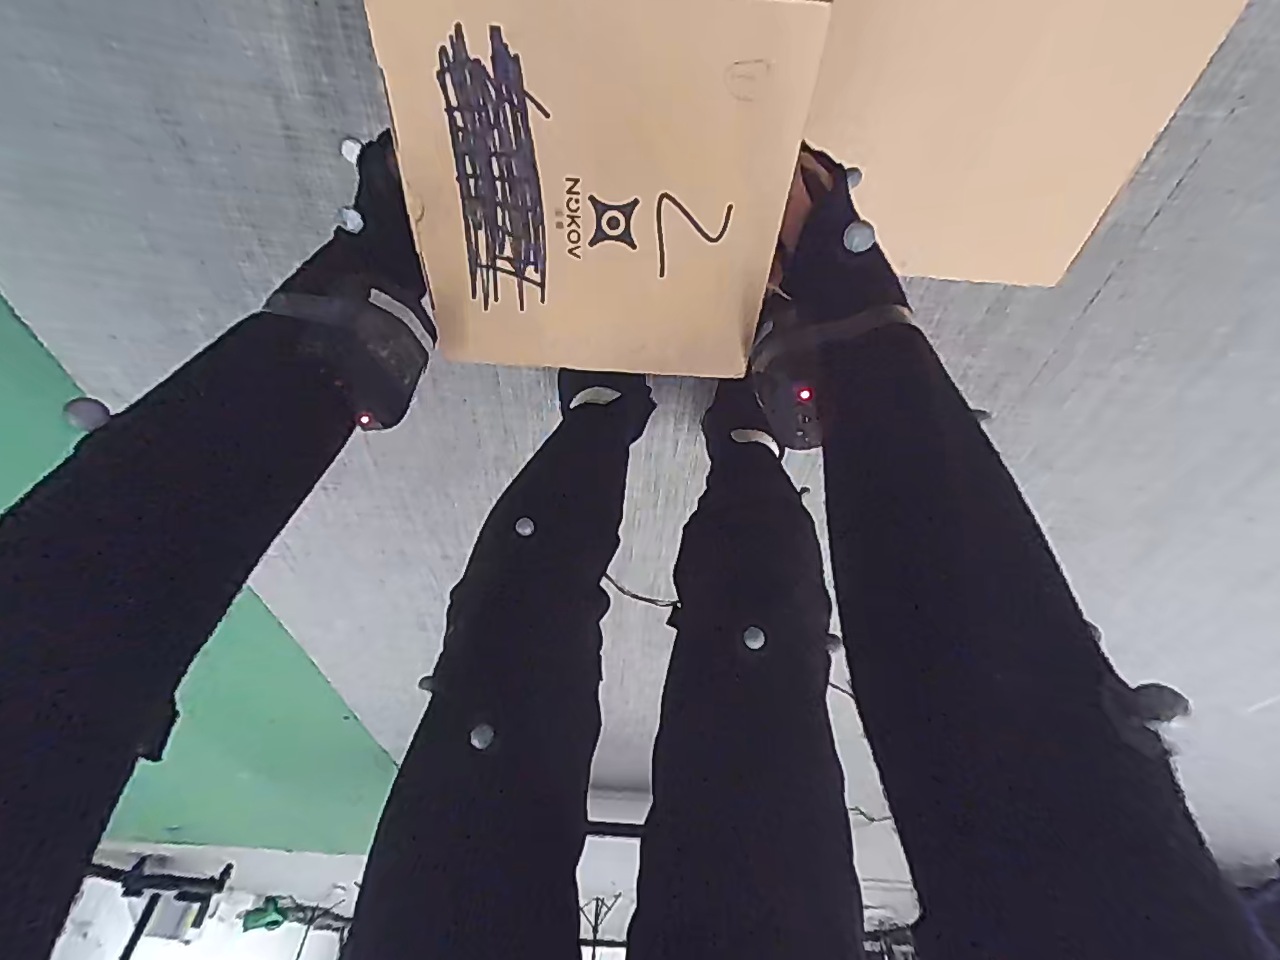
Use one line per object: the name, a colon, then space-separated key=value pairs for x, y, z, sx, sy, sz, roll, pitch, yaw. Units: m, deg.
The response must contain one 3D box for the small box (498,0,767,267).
small box: x=-0.014 y=-0.301 z=0.432 sx=0.168 sy=0.176 sz=0.179 roll=5 pitch=135 yaw=-6
